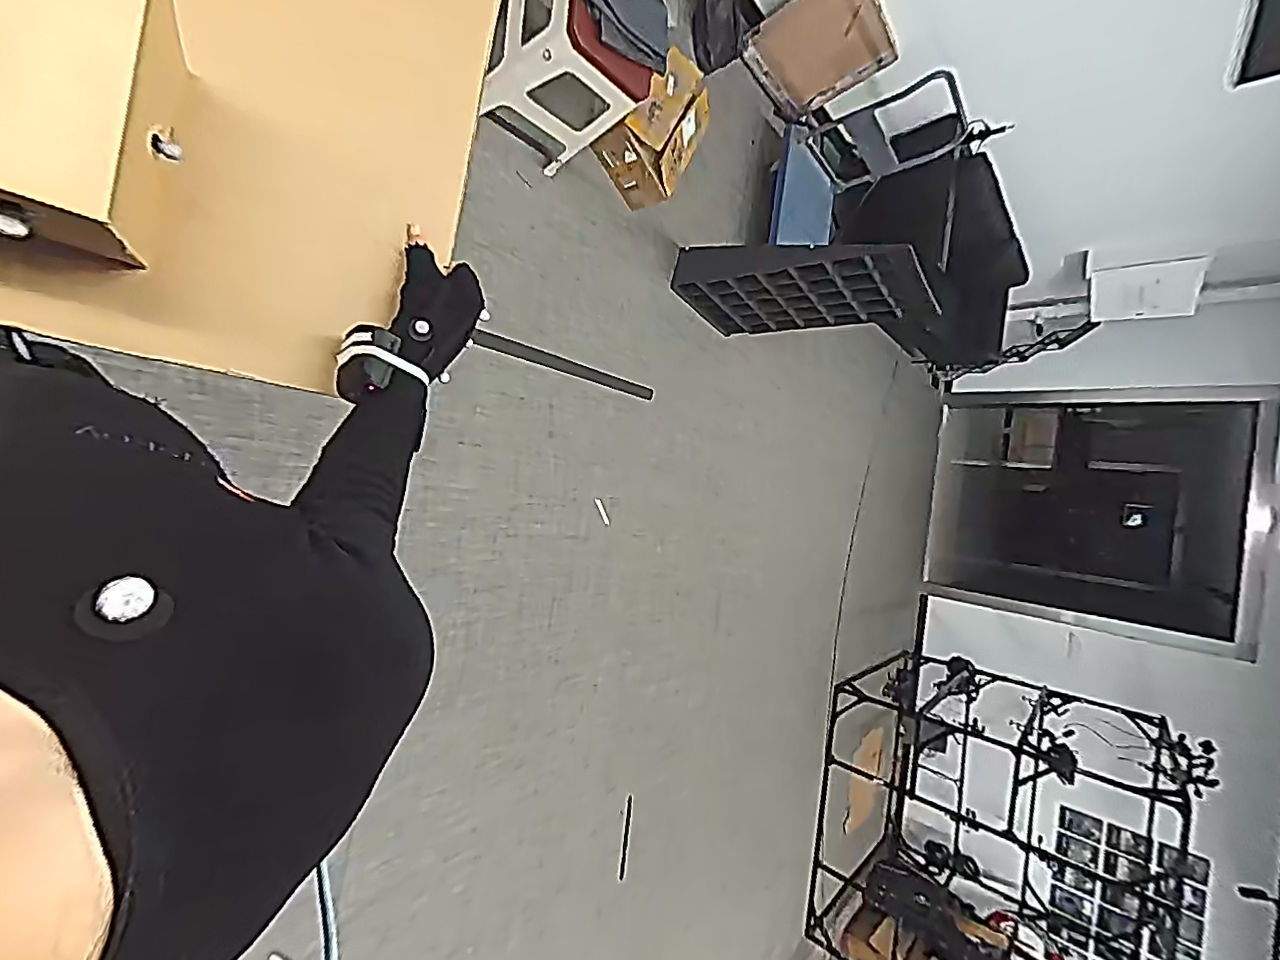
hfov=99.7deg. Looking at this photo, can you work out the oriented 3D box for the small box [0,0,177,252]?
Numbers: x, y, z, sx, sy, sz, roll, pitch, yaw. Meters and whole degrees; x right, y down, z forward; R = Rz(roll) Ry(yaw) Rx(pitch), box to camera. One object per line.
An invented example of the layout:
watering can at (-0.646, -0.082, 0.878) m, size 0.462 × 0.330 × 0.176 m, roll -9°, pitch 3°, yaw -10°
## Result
small box at (-0.411, -0.257, 0.327) m, size 0.179 × 0.176 × 0.168 m, roll 12°, pitch 92°, yaw -37°
